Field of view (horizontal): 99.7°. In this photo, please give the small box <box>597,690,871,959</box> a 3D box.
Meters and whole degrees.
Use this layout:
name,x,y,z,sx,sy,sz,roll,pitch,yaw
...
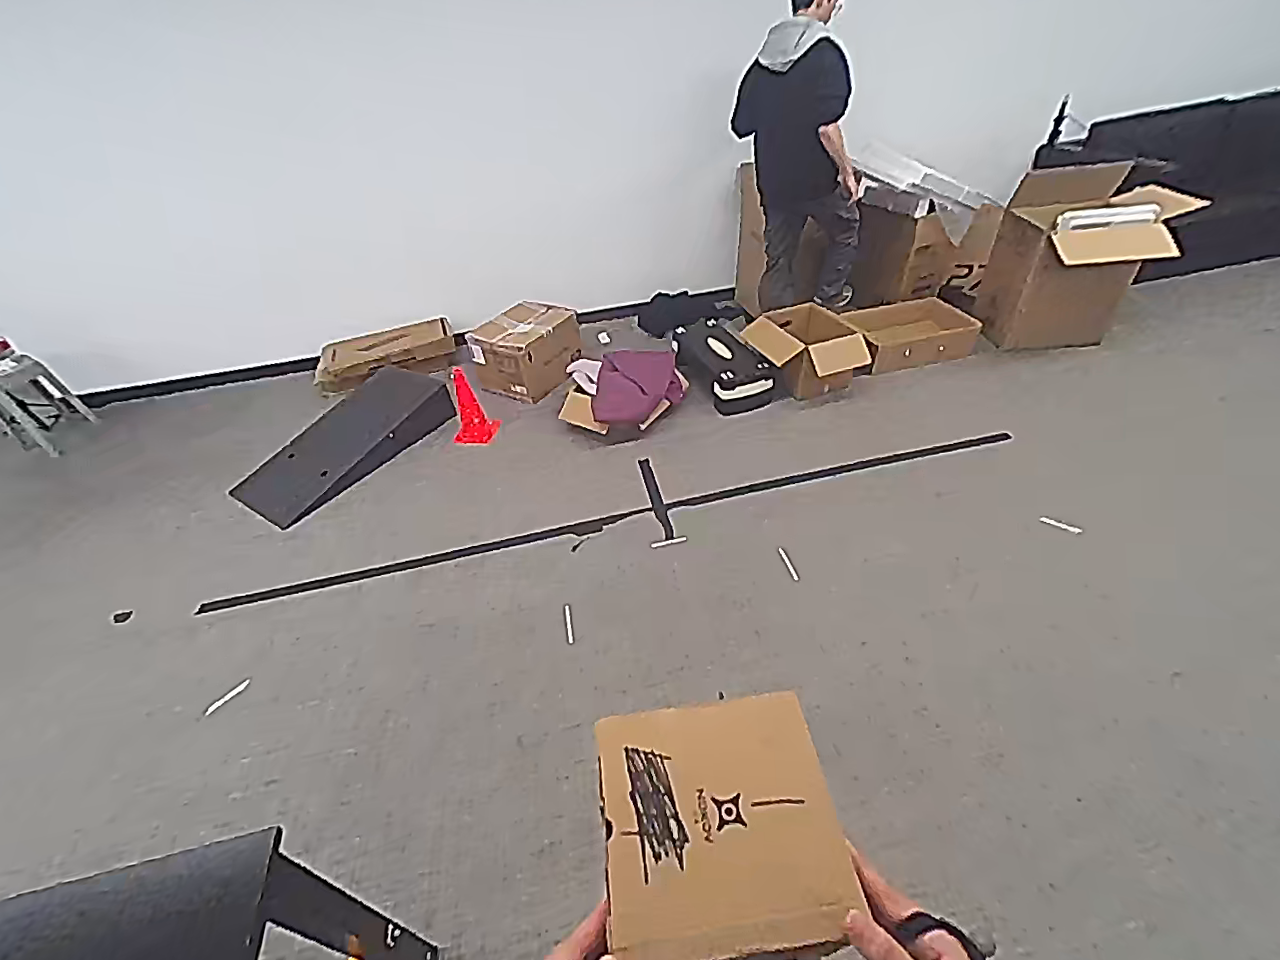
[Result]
name,x,y,z,sx,sy,sz,roll,pitch,yaw
small box,0.064,0.306,0.463,0.179,0.176,0.168,-7,45,-3
